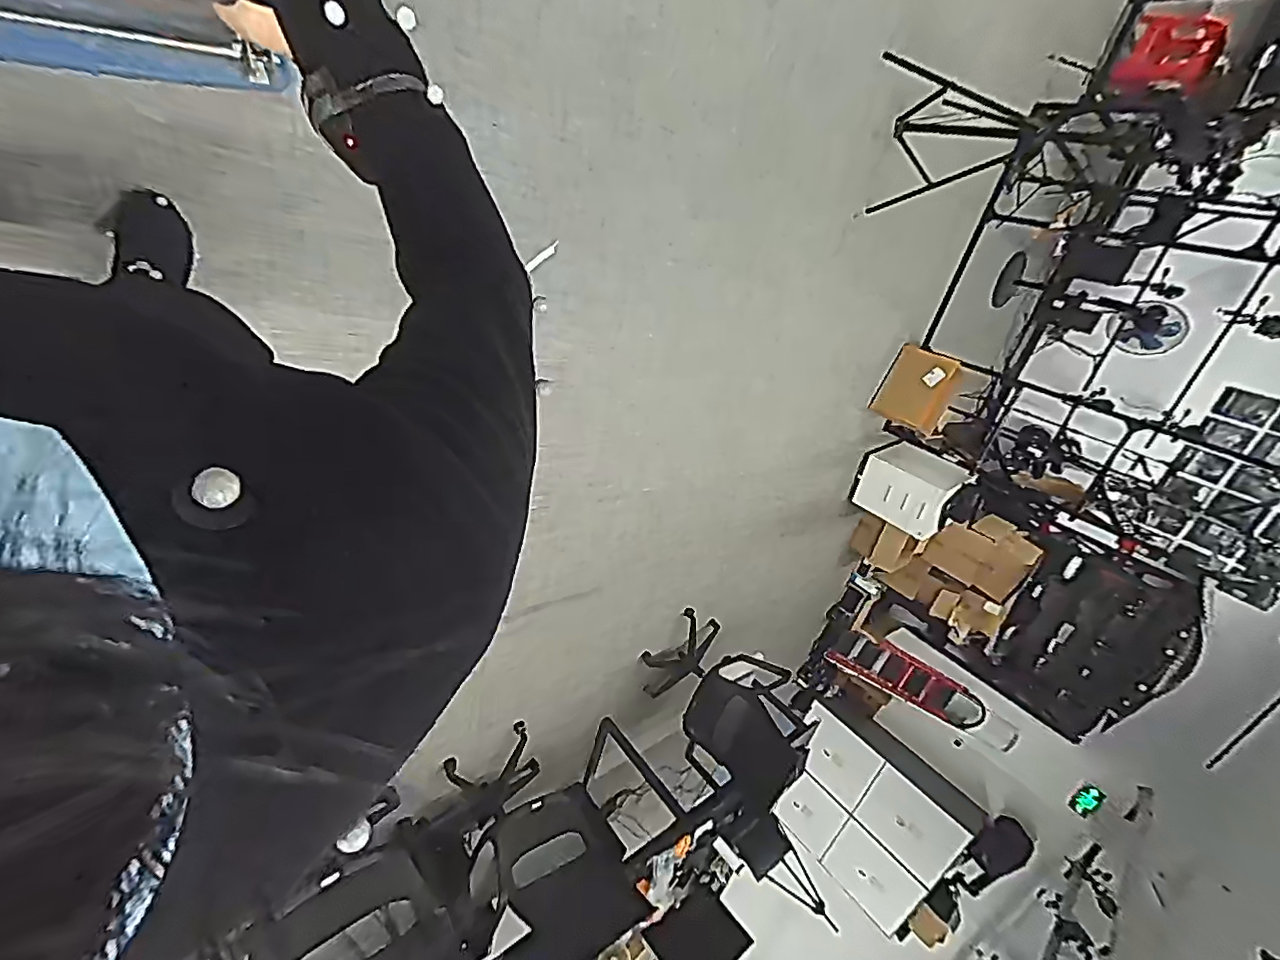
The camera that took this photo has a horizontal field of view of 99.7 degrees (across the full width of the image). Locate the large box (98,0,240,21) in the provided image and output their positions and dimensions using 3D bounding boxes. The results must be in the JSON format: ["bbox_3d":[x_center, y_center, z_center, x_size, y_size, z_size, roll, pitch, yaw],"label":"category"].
[{"bbox_3d":[-0.693,-0.713,0.541,0.408,0.320,0.320,-19,130,-37],"label":"large box"}]
